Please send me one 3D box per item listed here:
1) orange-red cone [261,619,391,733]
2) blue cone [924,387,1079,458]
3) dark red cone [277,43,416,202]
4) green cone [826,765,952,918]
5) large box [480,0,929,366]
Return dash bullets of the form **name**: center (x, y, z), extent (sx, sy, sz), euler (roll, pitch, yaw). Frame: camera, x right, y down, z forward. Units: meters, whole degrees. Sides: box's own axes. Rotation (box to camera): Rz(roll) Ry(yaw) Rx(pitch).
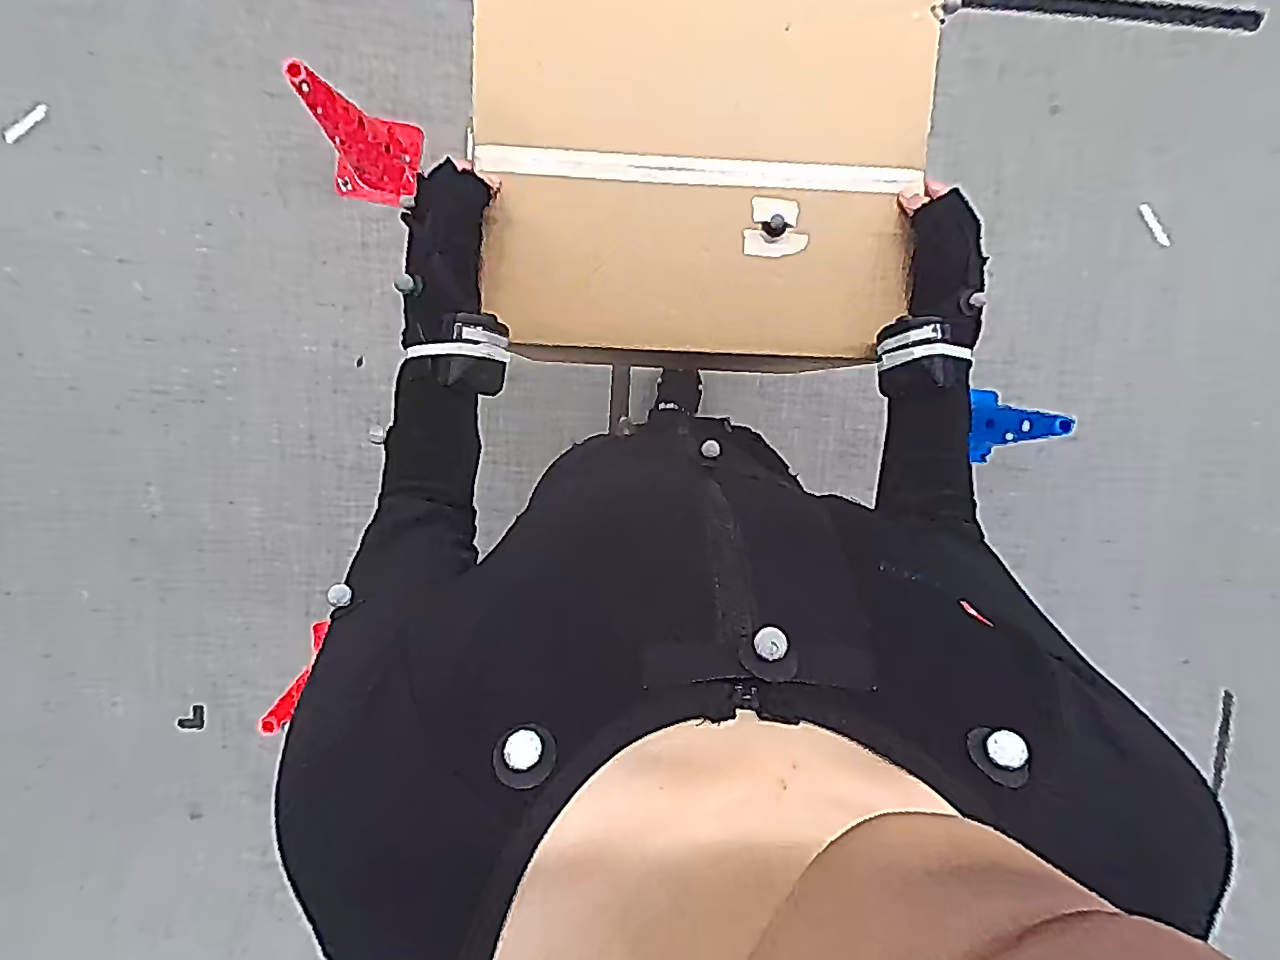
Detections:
- **orange-red cone**: center (-0.785, 0.501, 1.316), extent (0.198, 0.360, 0.199), euler (0, 97, -1)
- **blue cone**: center (0.886, -0.140, 1.318), extent (0.192, 0.380, 0.193), euler (6, 96, -3)
- **dark red cone**: center (-0.649, -0.783, 1.166), extent (0.201, 0.394, 0.202), euler (8, 96, -4)
- **green cone**: center (0.677, 0.969, 1.406), extent (0.202, 0.368, 0.200), euler (-35, 96, 0)
- **large box**: center (0.048, -0.304, 0.638), extent (0.408, 0.320, 0.320), euler (2, 99, -3)
